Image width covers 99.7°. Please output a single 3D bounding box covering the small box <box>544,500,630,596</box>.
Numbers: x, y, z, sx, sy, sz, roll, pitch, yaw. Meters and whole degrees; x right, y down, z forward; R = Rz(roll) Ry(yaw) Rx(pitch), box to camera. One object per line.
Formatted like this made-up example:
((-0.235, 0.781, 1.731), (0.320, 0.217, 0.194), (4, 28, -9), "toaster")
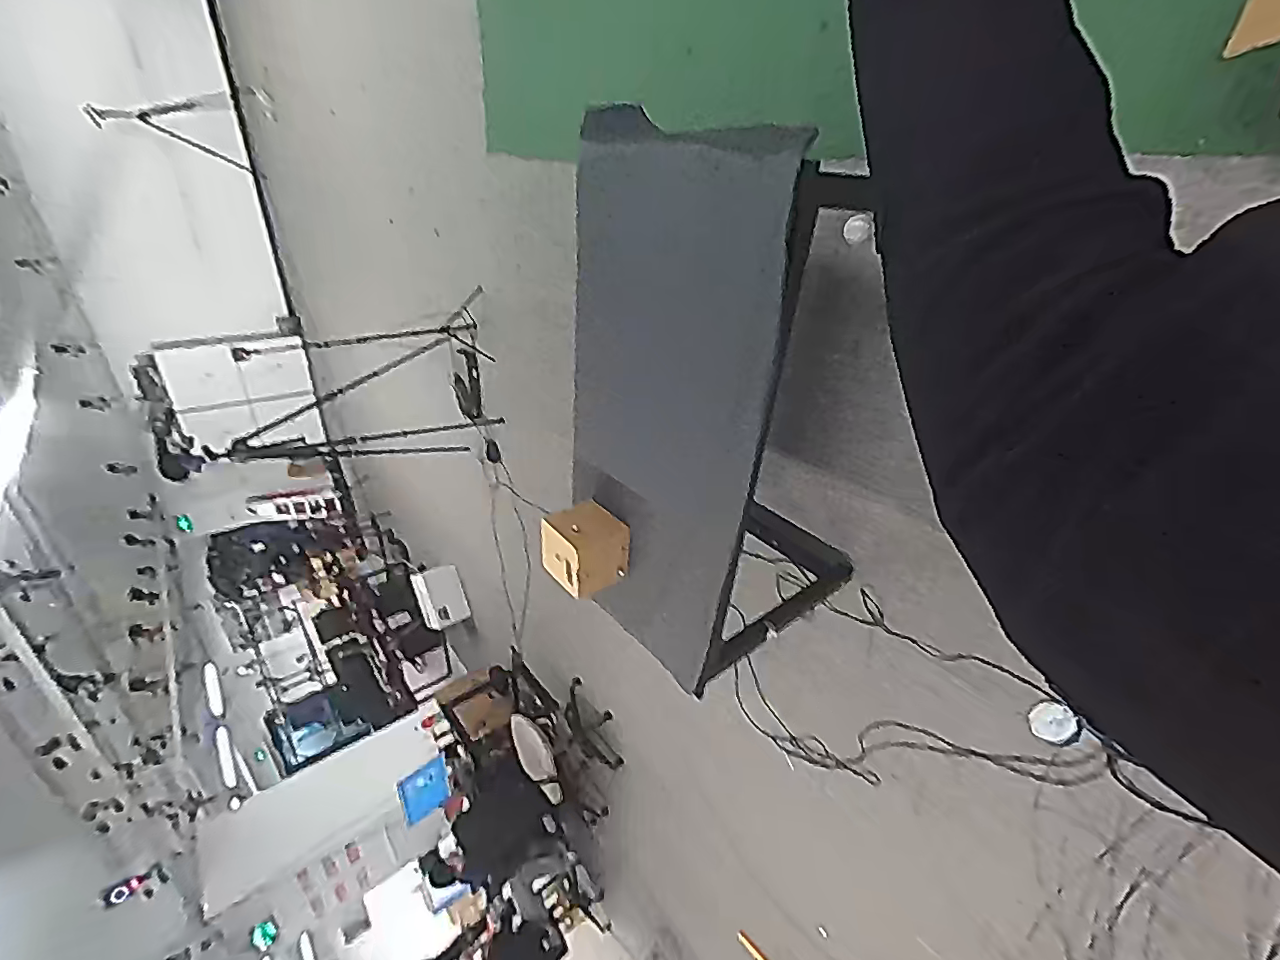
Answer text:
((-0.142, 0.175, 1.470), (0.179, 0.176, 0.168), (33, 131, 40), "small box")
